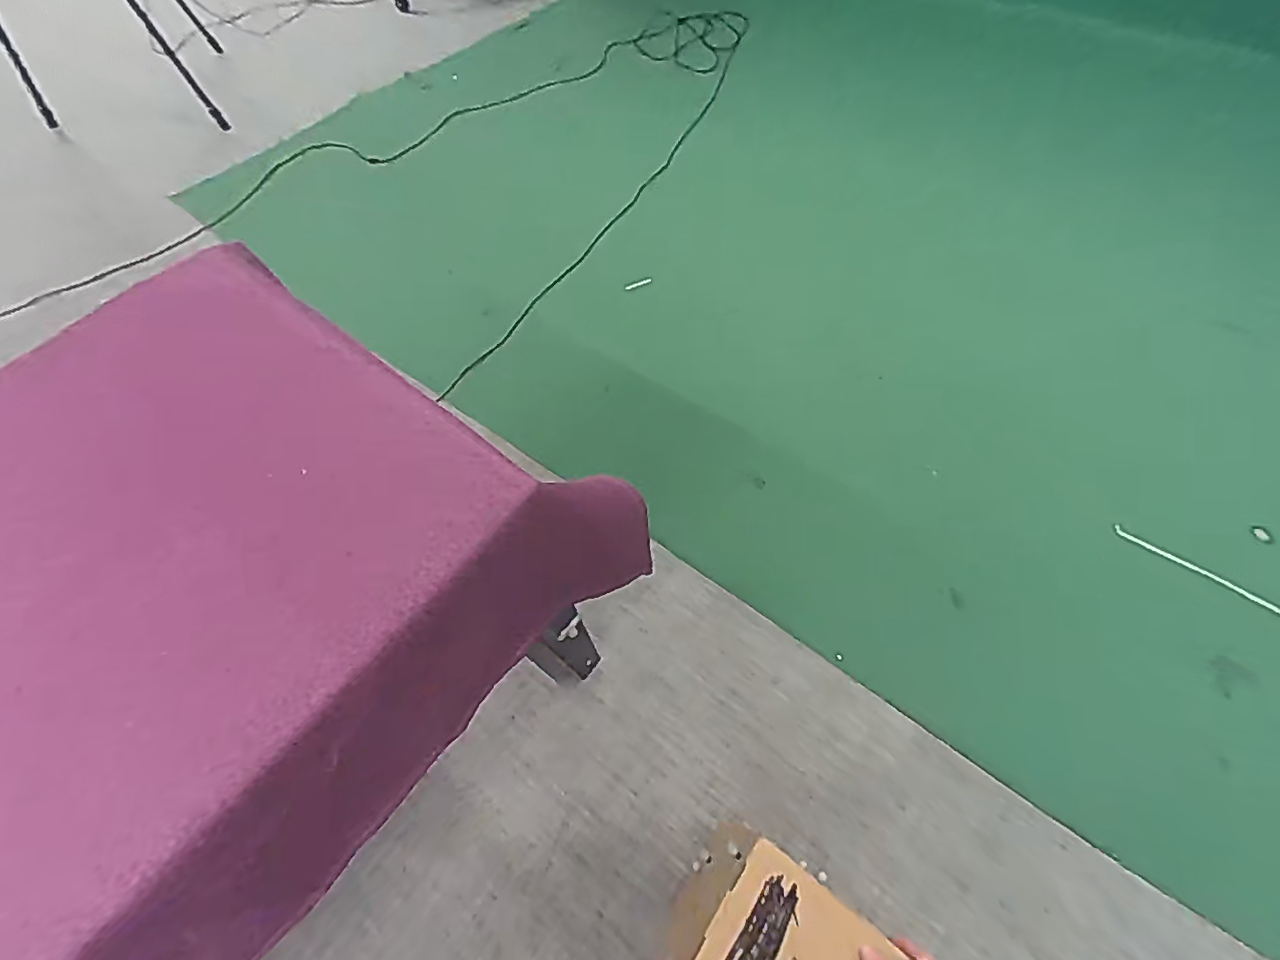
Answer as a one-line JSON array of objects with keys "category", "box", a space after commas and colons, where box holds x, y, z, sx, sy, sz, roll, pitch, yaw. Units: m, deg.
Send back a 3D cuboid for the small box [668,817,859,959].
[{"category": "small box", "box": [0.154, 0.584, 0.727, 0.179, 0.176, 0.168, 34, 65, 20]}]
